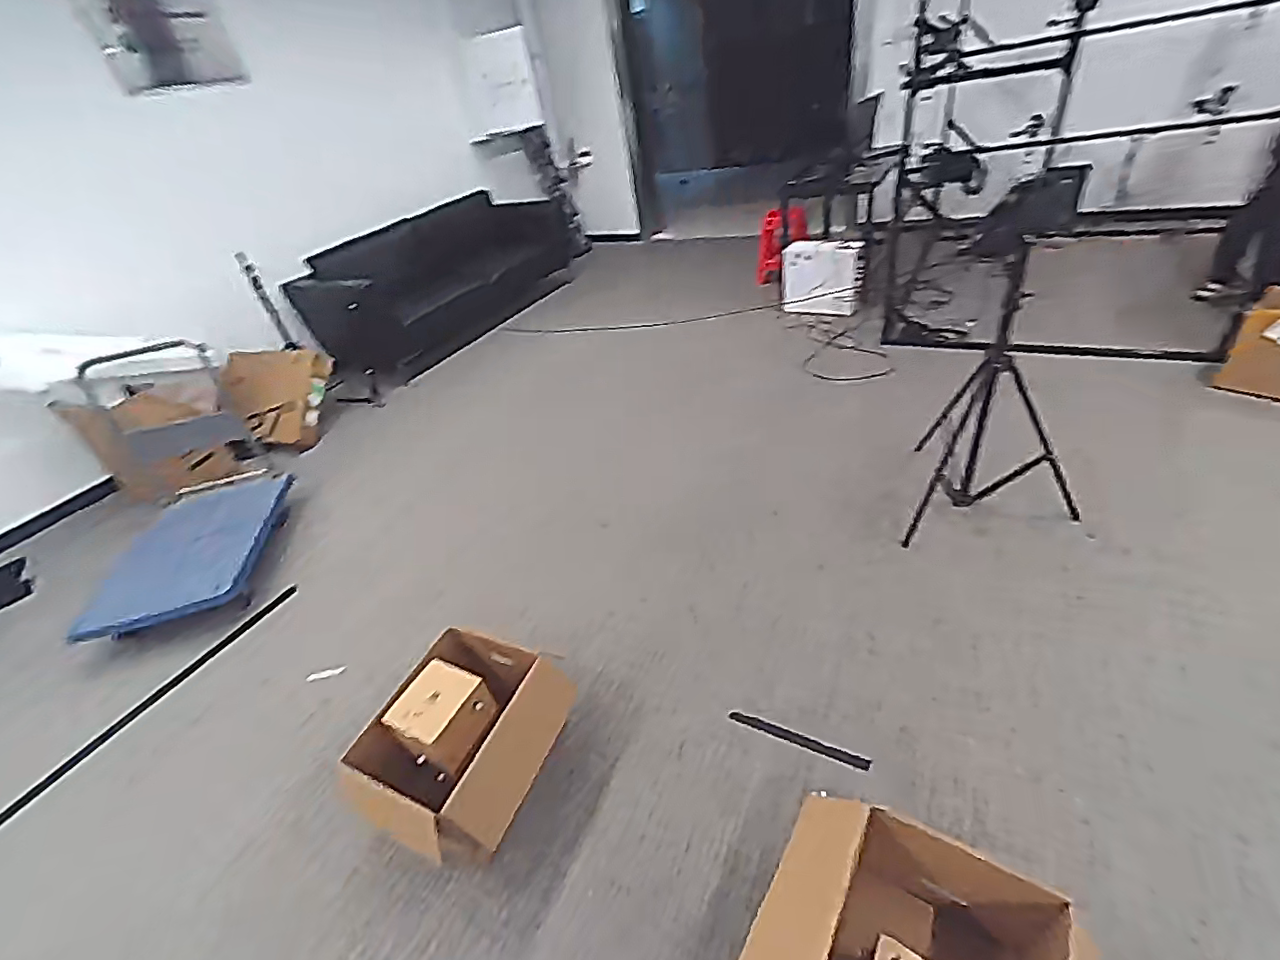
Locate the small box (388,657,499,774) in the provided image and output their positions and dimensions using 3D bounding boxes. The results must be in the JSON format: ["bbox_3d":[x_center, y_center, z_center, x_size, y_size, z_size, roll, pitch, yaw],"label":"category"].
[{"bbox_3d":[-0.470,0.578,1.331,0.168,0.176,0.179,10,42,27],"label":"small box"}]
